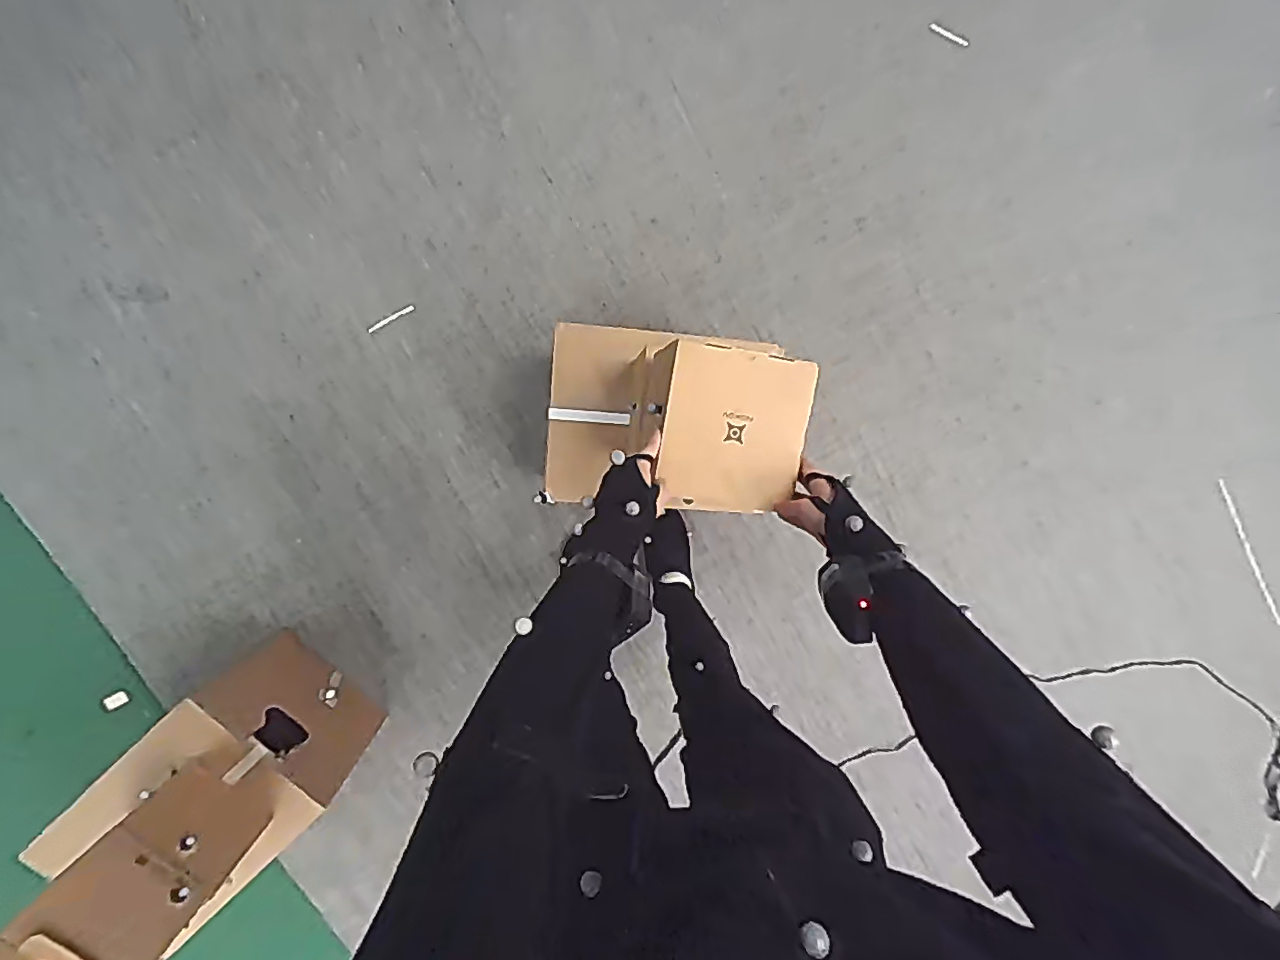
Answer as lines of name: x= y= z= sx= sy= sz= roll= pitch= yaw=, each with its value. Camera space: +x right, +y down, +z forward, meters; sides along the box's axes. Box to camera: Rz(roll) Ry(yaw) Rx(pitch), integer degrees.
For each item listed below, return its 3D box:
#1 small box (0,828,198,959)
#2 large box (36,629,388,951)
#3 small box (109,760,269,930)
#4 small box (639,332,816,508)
small box: x=-0.730 y=0.605 z=0.695 sx=0.179 sy=0.176 sz=0.168 roll=-44 pitch=99 yaw=0
large box: x=-0.811 y=0.588 z=1.096 sx=0.408 sy=0.320 sz=0.320 roll=-44 pitch=97 yaw=1
small box: x=-0.747 y=0.593 z=0.857 sx=0.168 sy=0.176 sz=0.179 roll=-43 pitch=98 yaw=-1
small box: x=0.096 y=-0.073 z=0.682 sx=0.168 sy=0.176 sz=0.179 roll=8 pitch=95 yaw=-7
